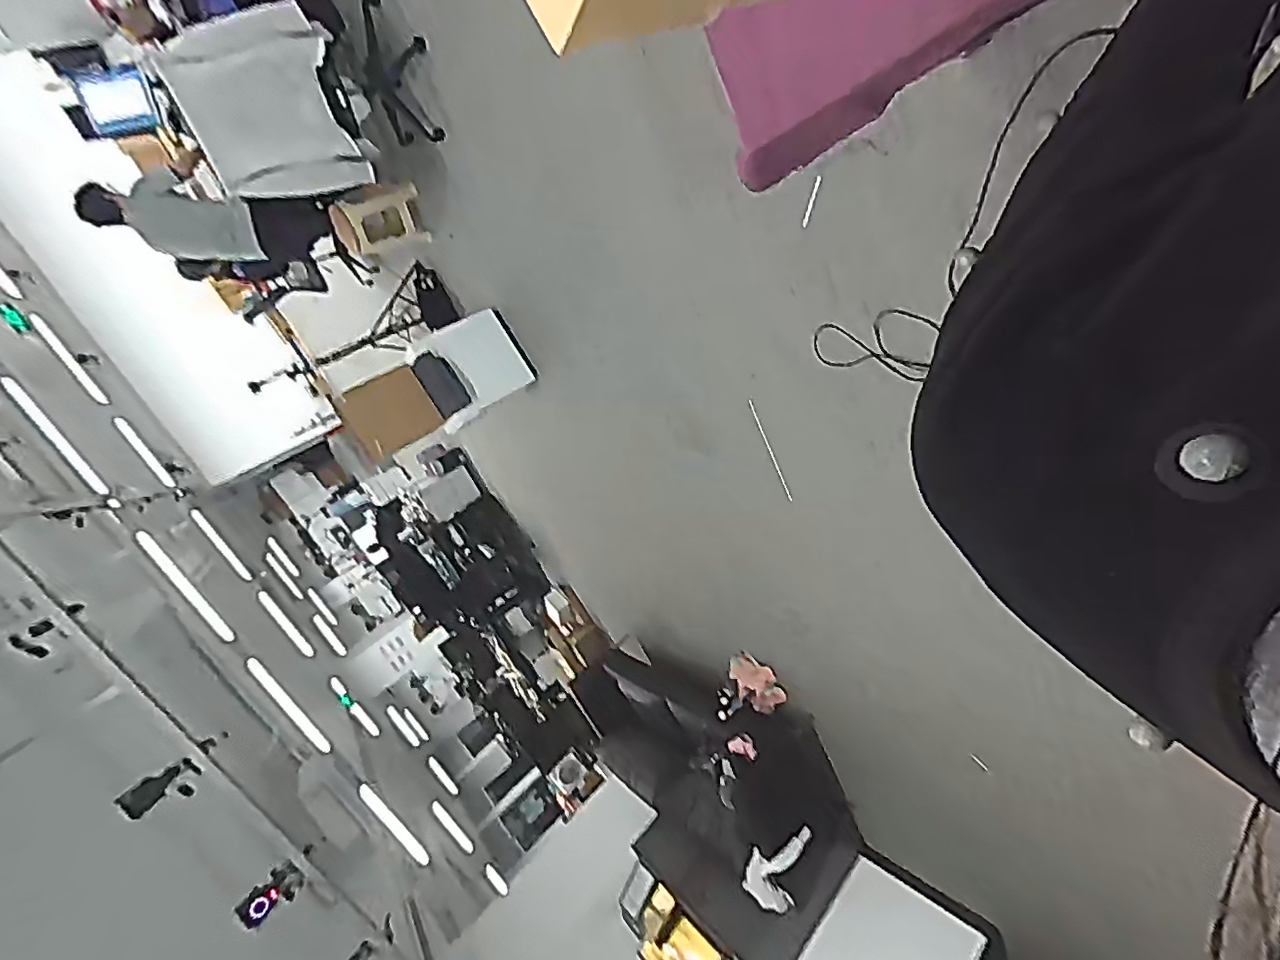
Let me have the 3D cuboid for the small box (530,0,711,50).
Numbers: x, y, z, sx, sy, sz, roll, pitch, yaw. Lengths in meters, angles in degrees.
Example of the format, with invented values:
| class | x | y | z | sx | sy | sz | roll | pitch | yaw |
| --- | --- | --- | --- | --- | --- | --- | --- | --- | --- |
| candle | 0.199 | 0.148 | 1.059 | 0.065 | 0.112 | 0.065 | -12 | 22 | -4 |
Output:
| class | x | y | z | sx | sy | sz | roll | pitch | yaw |
| --- | --- | --- | --- | --- | --- | --- | --- | --- | --- |
| small box | -0.002 | -0.417 | 0.323 | 0.179 | 0.176 | 0.168 | 58 | 151 | -9 |
